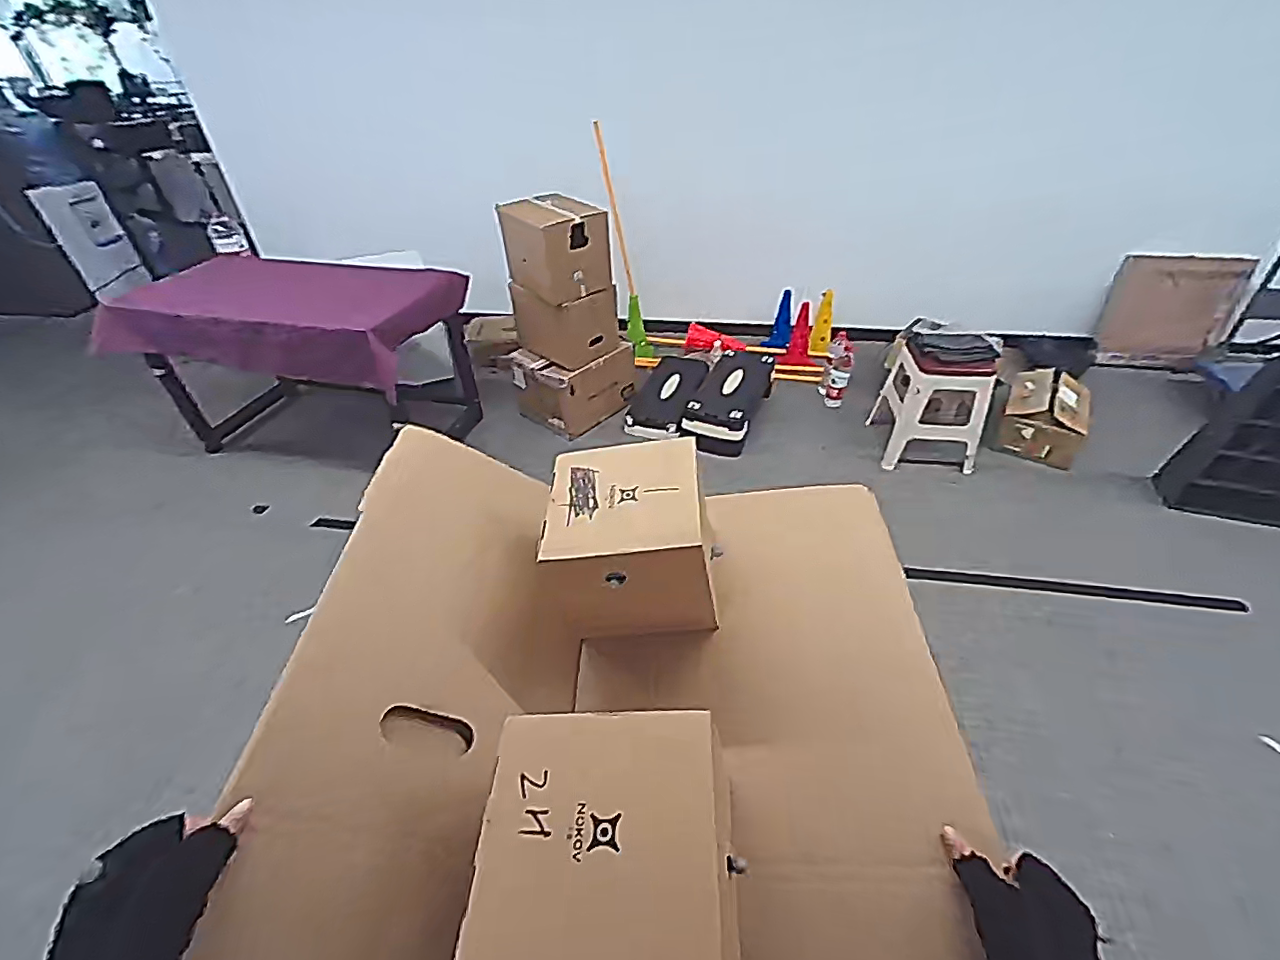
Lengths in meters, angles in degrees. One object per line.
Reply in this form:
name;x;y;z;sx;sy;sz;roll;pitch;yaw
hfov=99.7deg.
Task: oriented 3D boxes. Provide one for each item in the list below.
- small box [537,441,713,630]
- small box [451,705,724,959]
small box;-0.008;0.075;0.677;0.179;0.176;0.168;-6;45;9
small box;-0.021;0.304;0.455;0.179;0.176;0.168;-5;45;11
